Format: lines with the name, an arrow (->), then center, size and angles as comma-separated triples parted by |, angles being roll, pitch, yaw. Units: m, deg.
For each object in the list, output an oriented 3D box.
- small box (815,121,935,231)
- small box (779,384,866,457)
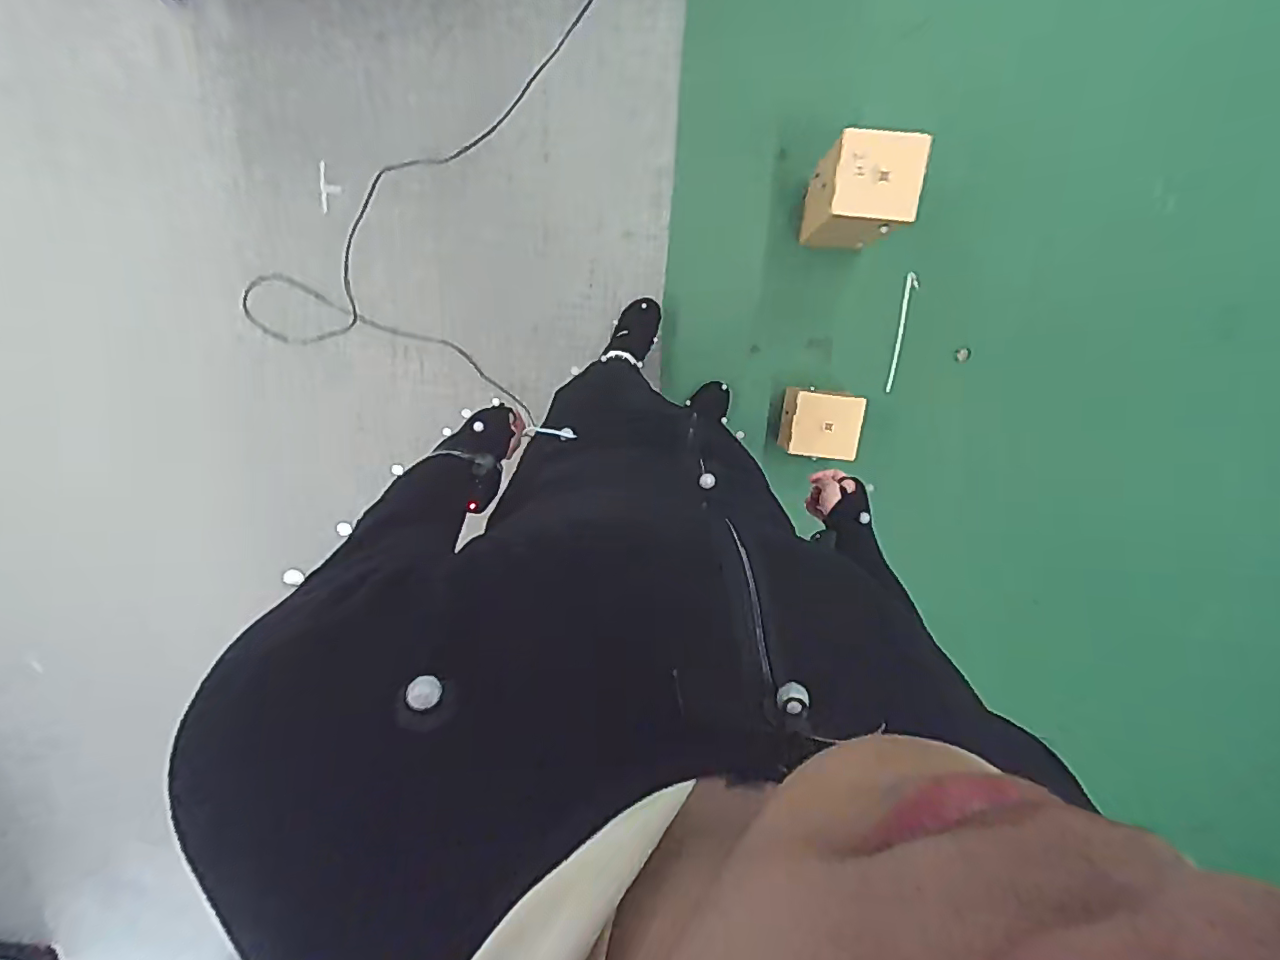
small box -> 0.500, -0.651, 1.178 | 0.179, 0.176, 0.168 | 8, 104, 3
small box -> 0.488, -0.168, 1.471 | 0.179, 0.176, 0.168 | 7, 105, 4
